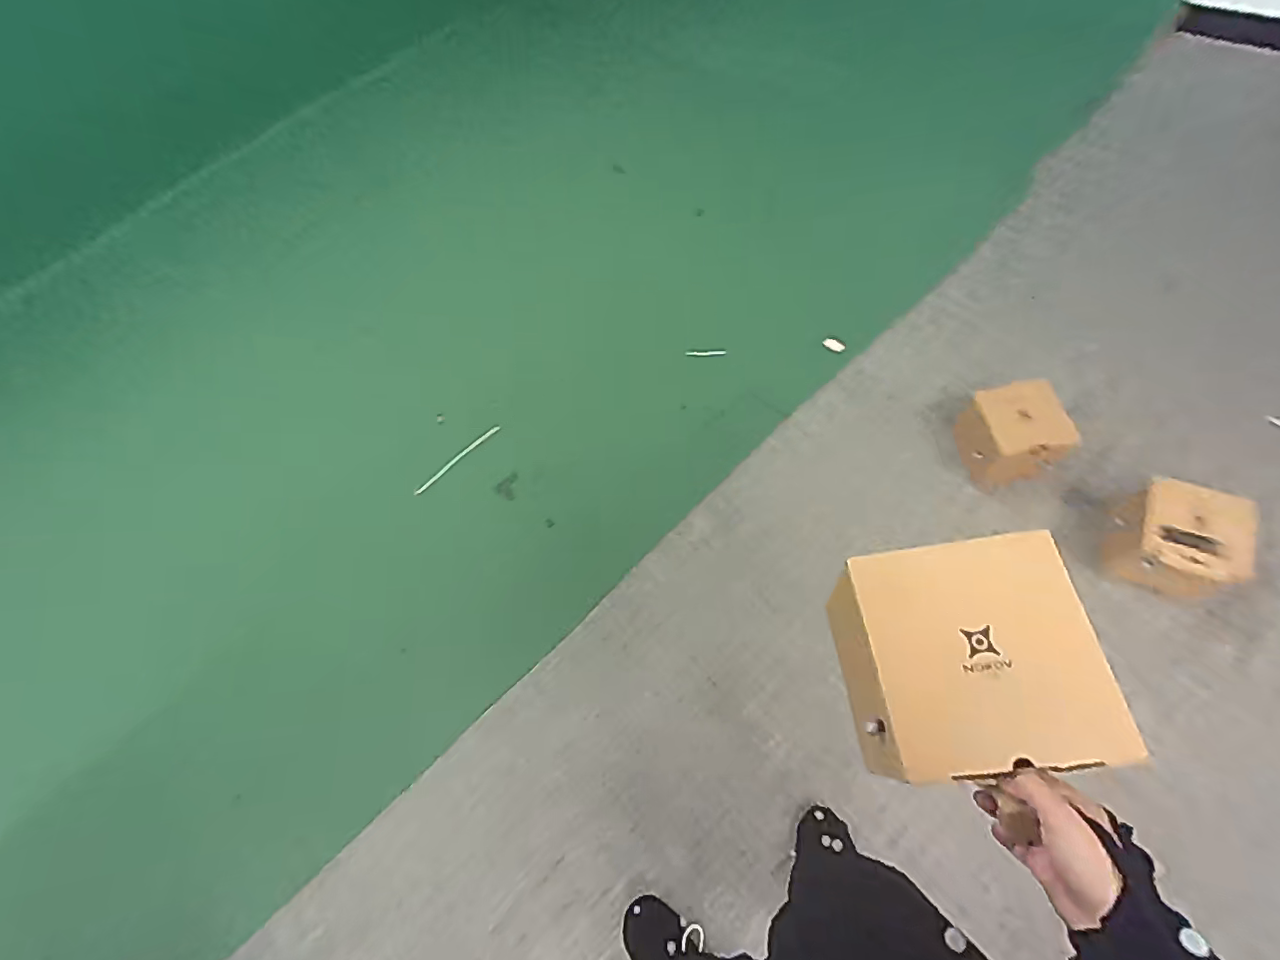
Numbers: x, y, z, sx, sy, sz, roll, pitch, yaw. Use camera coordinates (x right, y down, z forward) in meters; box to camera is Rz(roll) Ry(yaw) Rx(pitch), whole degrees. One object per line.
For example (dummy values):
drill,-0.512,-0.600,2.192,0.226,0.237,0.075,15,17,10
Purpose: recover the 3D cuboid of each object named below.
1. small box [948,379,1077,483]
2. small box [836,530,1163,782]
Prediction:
small box,0.863,-0.105,1.275,0.168,0.176,0.179,-11,60,5
small box,0.287,0.162,0.488,0.168,0.176,0.179,-9,65,8
